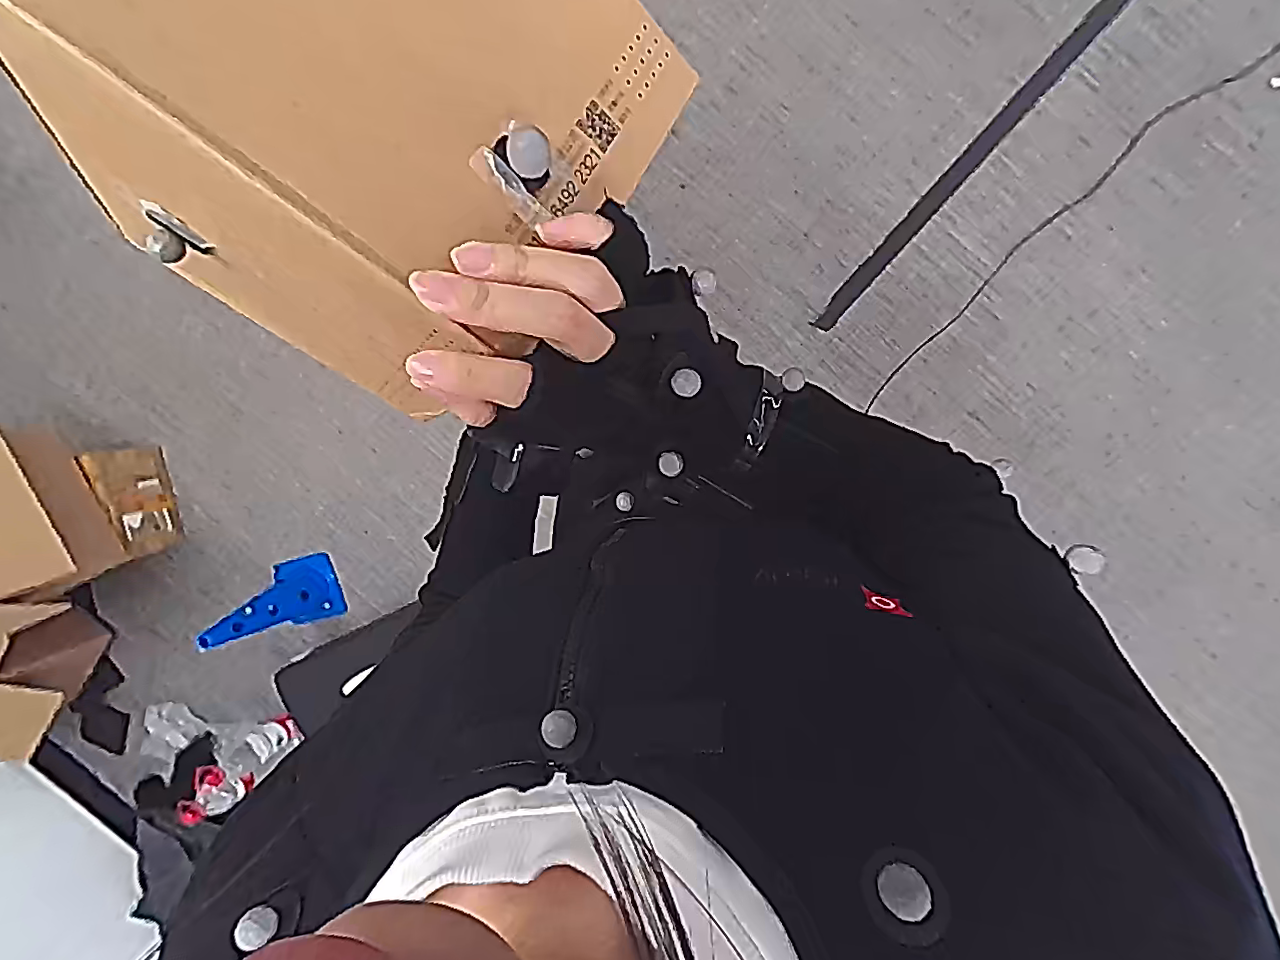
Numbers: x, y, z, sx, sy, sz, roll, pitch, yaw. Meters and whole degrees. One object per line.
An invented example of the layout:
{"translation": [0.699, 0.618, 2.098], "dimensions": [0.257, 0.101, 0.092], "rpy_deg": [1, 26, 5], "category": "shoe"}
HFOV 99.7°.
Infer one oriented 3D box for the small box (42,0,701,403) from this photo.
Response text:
{"translation": [-0.105, -0.154, 0.269], "dimensions": [0.176, 0.179, 0.168], "rpy_deg": [35, 72, -28], "category": "small box"}
